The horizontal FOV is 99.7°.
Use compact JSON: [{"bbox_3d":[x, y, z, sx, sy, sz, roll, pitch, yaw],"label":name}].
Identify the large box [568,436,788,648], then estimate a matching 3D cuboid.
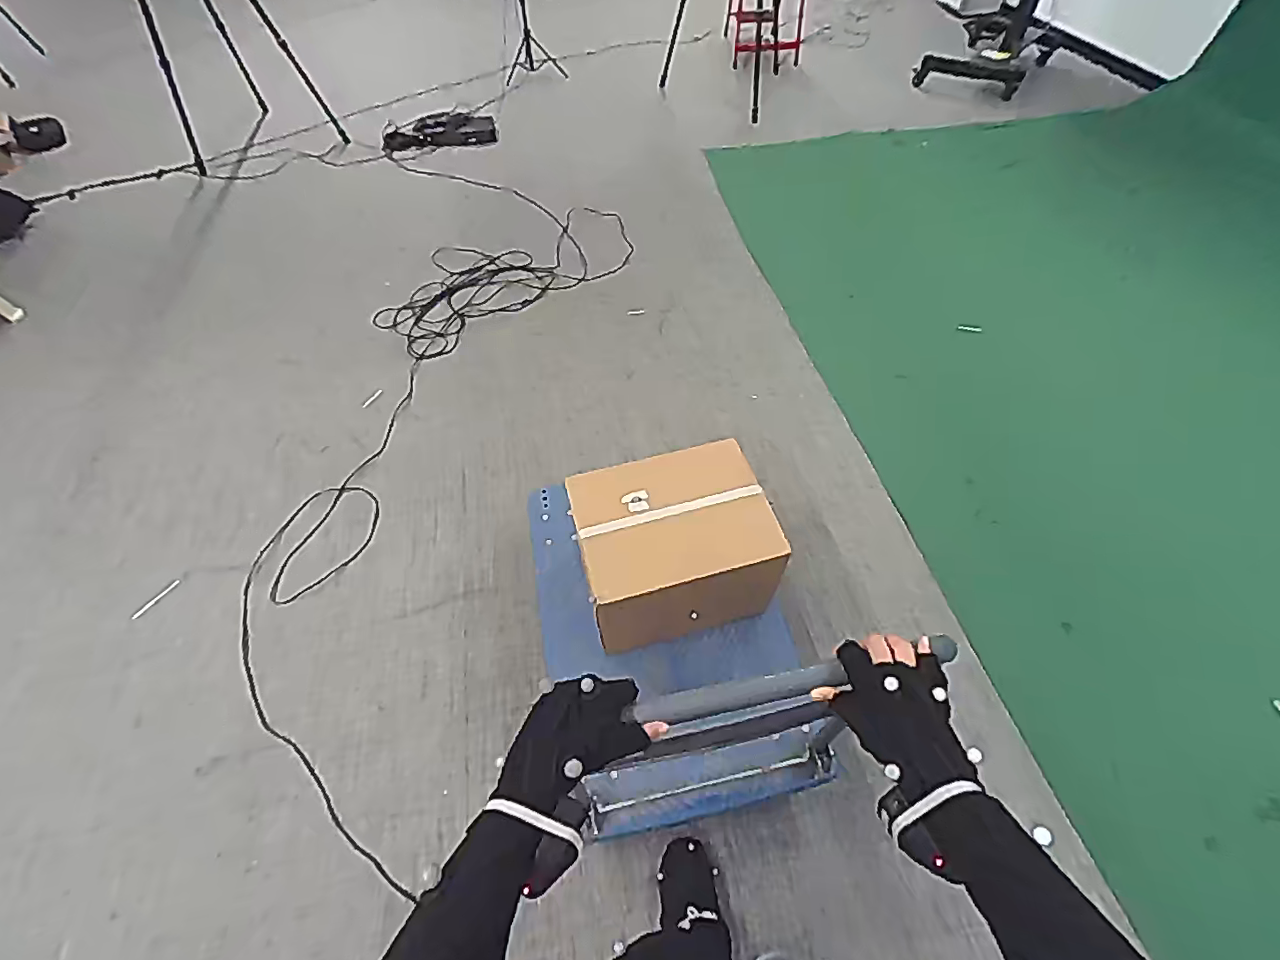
[{"bbox_3d":[0.079,0.152,1.275,0.408,0.320,0.320,-16,56,-7],"label":"large box"}]
